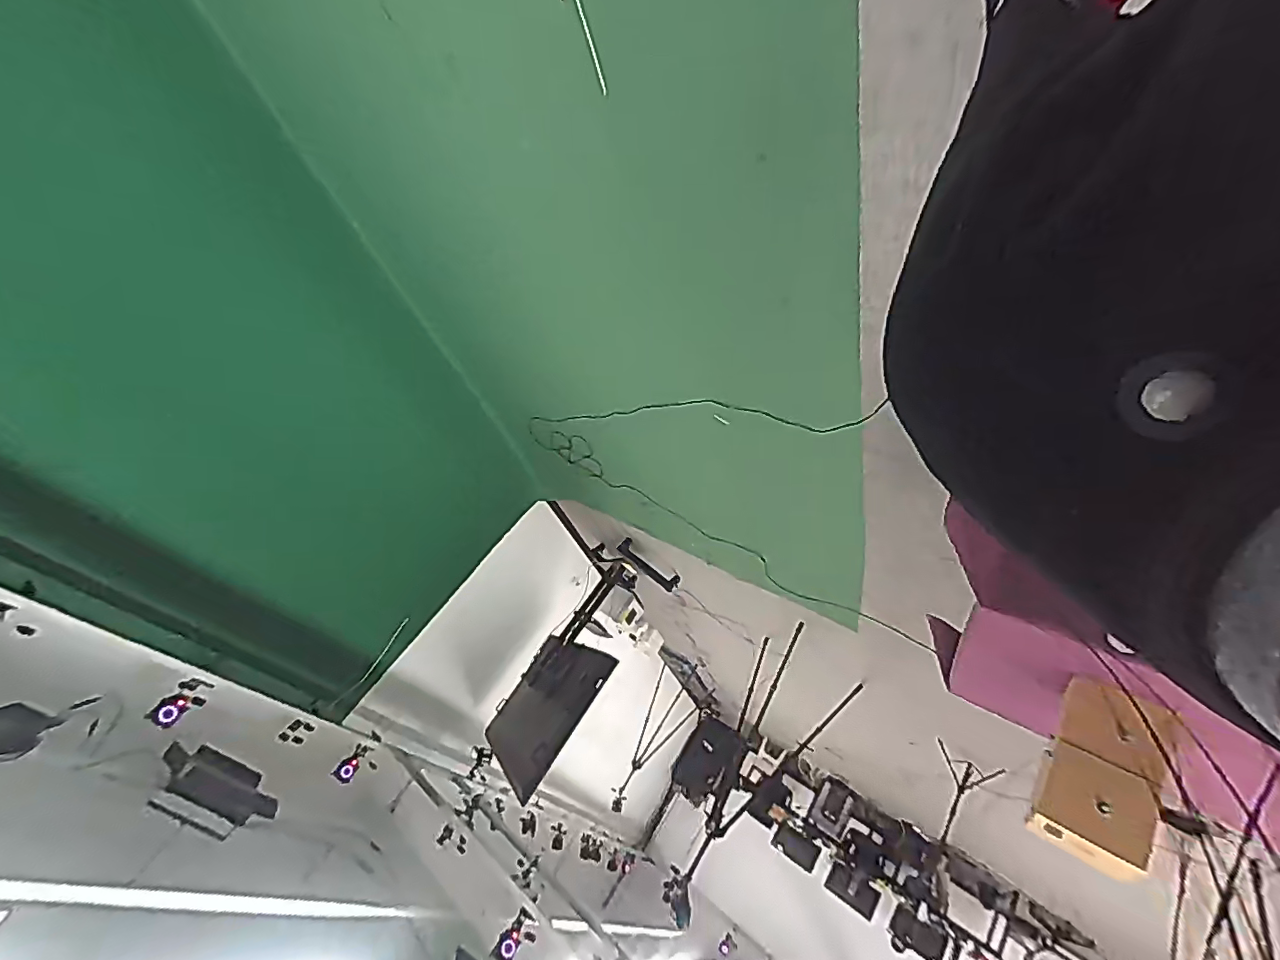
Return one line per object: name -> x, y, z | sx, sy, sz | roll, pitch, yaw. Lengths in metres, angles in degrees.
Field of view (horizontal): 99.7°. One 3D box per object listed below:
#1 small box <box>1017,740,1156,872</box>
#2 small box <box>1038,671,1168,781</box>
small box -> 0.936, 0.677, 1.142 | 0.179, 0.176, 0.168 | 20, 152, 35
small box -> 1.031, 0.559, 1.207 | 0.179, 0.176, 0.168 | 20, 151, 36
